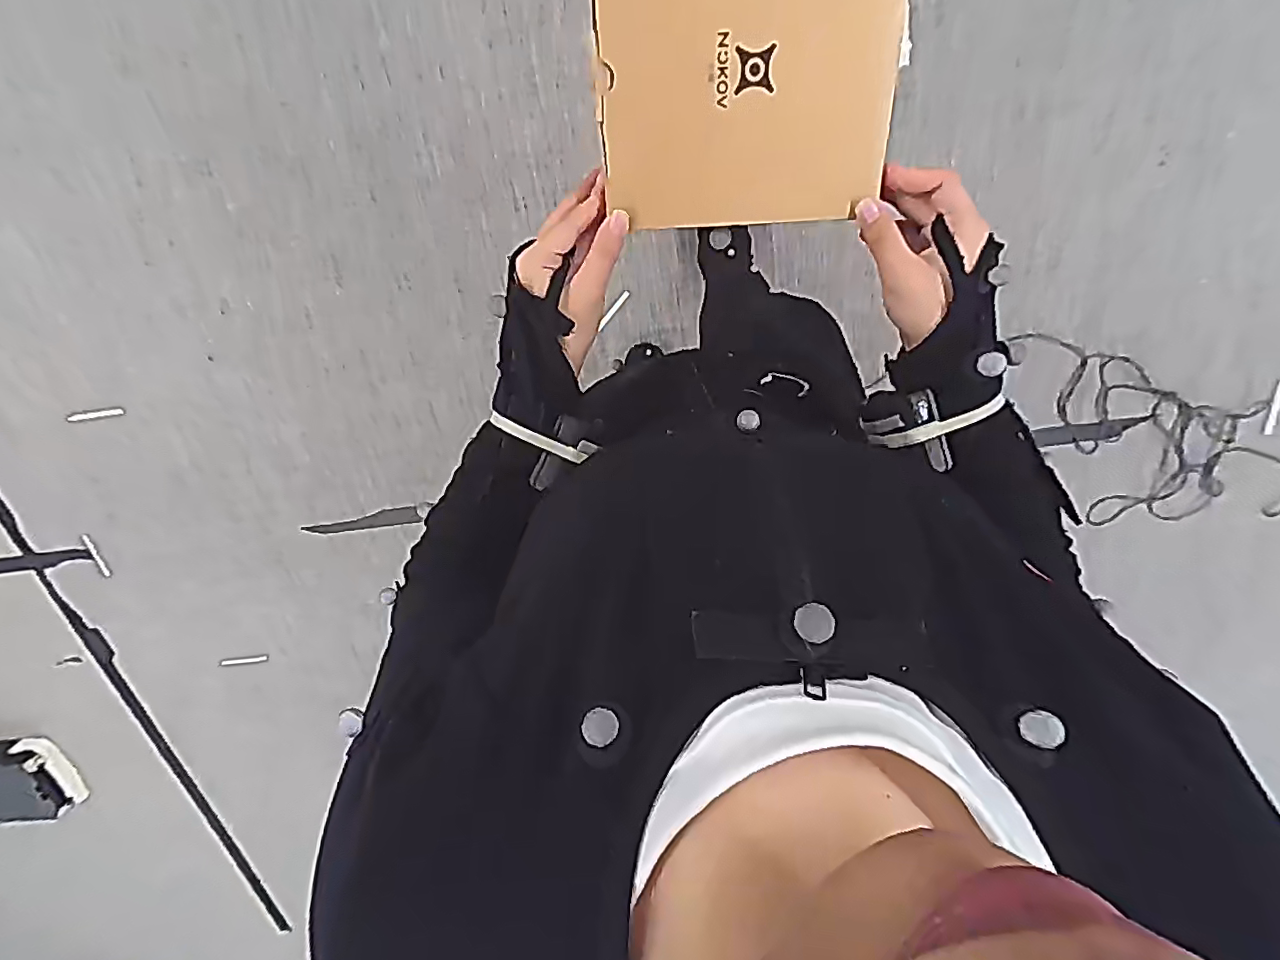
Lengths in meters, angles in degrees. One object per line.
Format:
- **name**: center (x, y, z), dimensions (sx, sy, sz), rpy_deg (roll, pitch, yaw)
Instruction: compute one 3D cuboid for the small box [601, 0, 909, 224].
- **small box**: center (0.066, -0.283, 0.387), dimensions (0.179, 0.176, 0.168), rpy_deg (-2, 119, 2)
